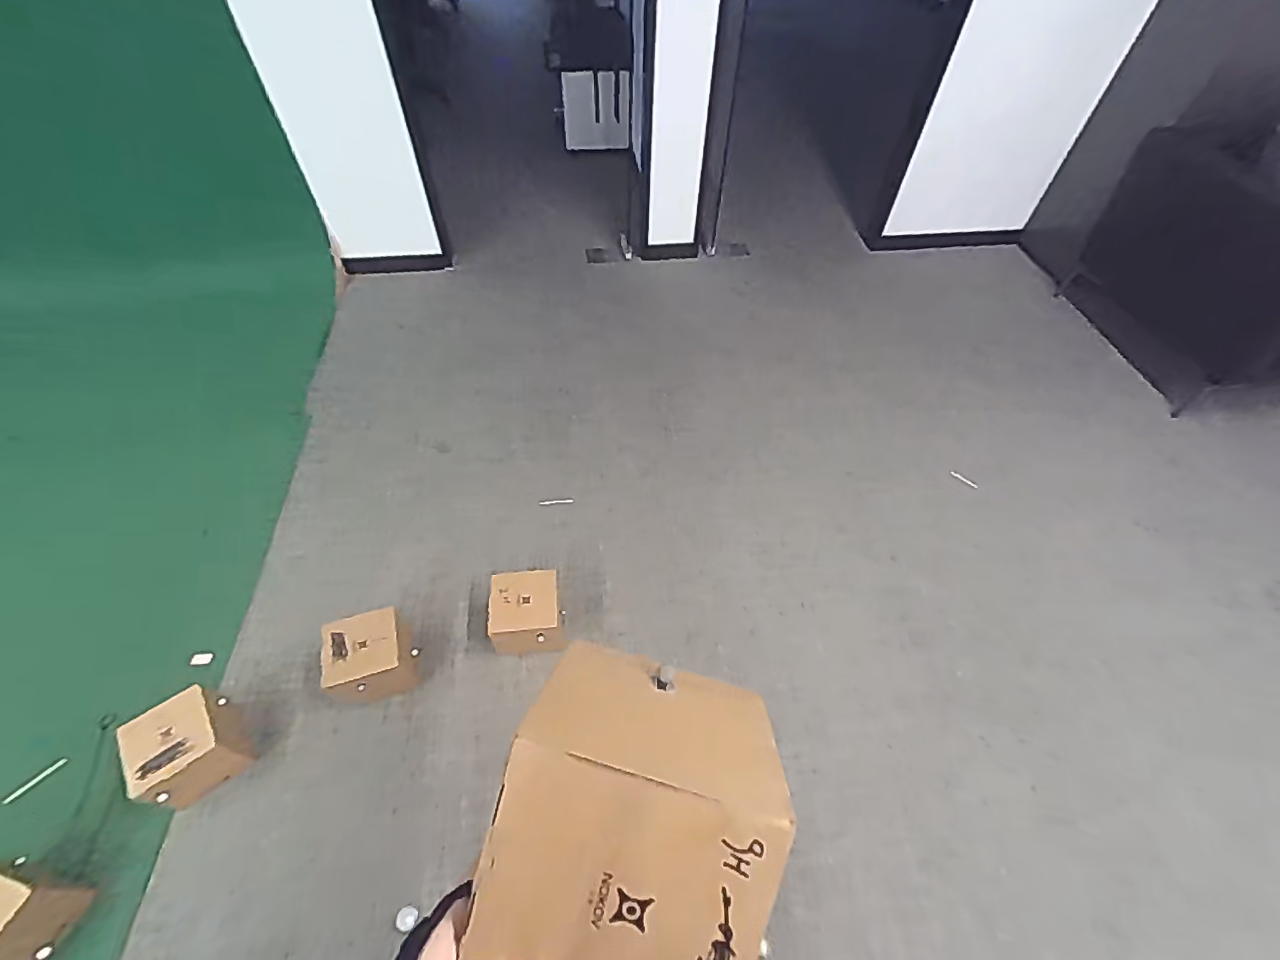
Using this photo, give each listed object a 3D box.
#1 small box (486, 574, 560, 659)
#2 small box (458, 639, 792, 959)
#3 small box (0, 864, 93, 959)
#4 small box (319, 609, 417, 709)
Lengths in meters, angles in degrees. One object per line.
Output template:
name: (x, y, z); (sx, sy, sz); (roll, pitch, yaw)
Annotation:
small box: (-0.306, 0.369, 1.459); (0.179, 0.176, 0.168); (-4, 51, -5)
small box: (-0.005, 0.240, 0.413); (0.179, 0.176, 0.168); (16, 95, 5)
small box: (-1.245, 0.862, 1.039); (0.179, 0.176, 0.168); (15, 53, 9)
small box: (-0.685, 0.459, 1.374); (0.179, 0.176, 0.168); (-14, 54, -13)
